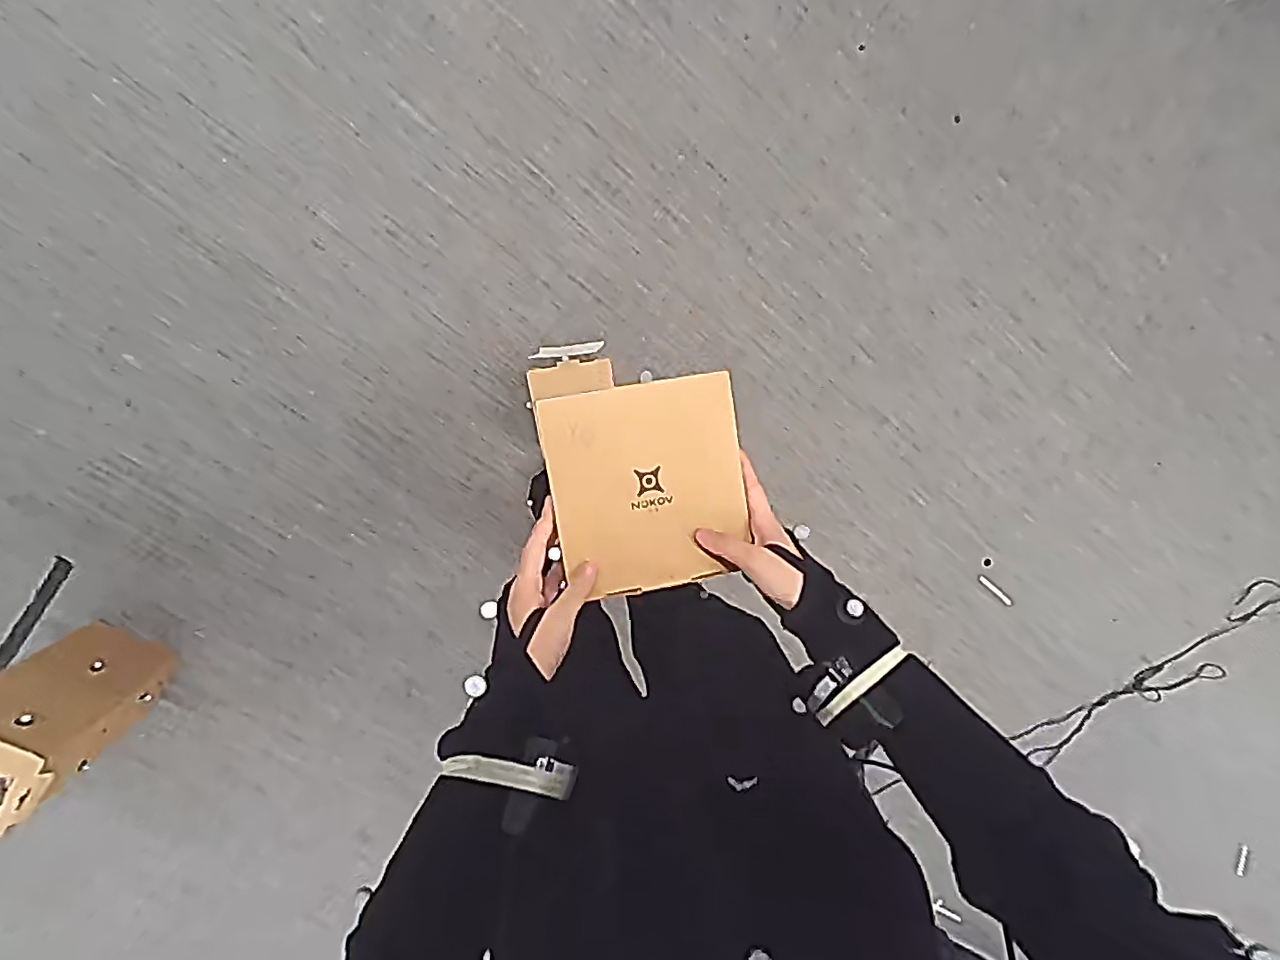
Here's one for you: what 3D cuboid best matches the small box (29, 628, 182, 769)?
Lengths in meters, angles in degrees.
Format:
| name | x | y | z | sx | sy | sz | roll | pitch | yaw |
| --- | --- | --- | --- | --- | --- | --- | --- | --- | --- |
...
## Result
| name | x | y | z | sx | sy | sz | roll | pitch | yaw |
| --- | --- | --- | --- | --- | --- | --- | --- | --- | --- |
| small box | -1.078 | 0.423 | 1.075 | 0.179 | 0.176 | 0.168 | 32 | 93 | -13 |

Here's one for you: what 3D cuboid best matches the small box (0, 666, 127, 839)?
| name | x | y | z | sx | sy | sz | roll | pitch | yaw |
| --- | --- | --- | --- | --- | --- | --- | --- | --- | --- |
| small box | -1.046 | 0.449 | 0.915 | 0.179 | 0.176 | 0.168 | 33 | 93 | -14 |

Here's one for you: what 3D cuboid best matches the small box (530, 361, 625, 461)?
| name | x | y | z | sx | sy | sz | roll | pitch | yaw |
| --- | --- | --- | --- | --- | --- | --- | --- | --- | --- |
| small box | -0.135 | -0.146 | 1.131 | 0.168 | 0.176 | 0.179 | -10 | 102 | -9 |
